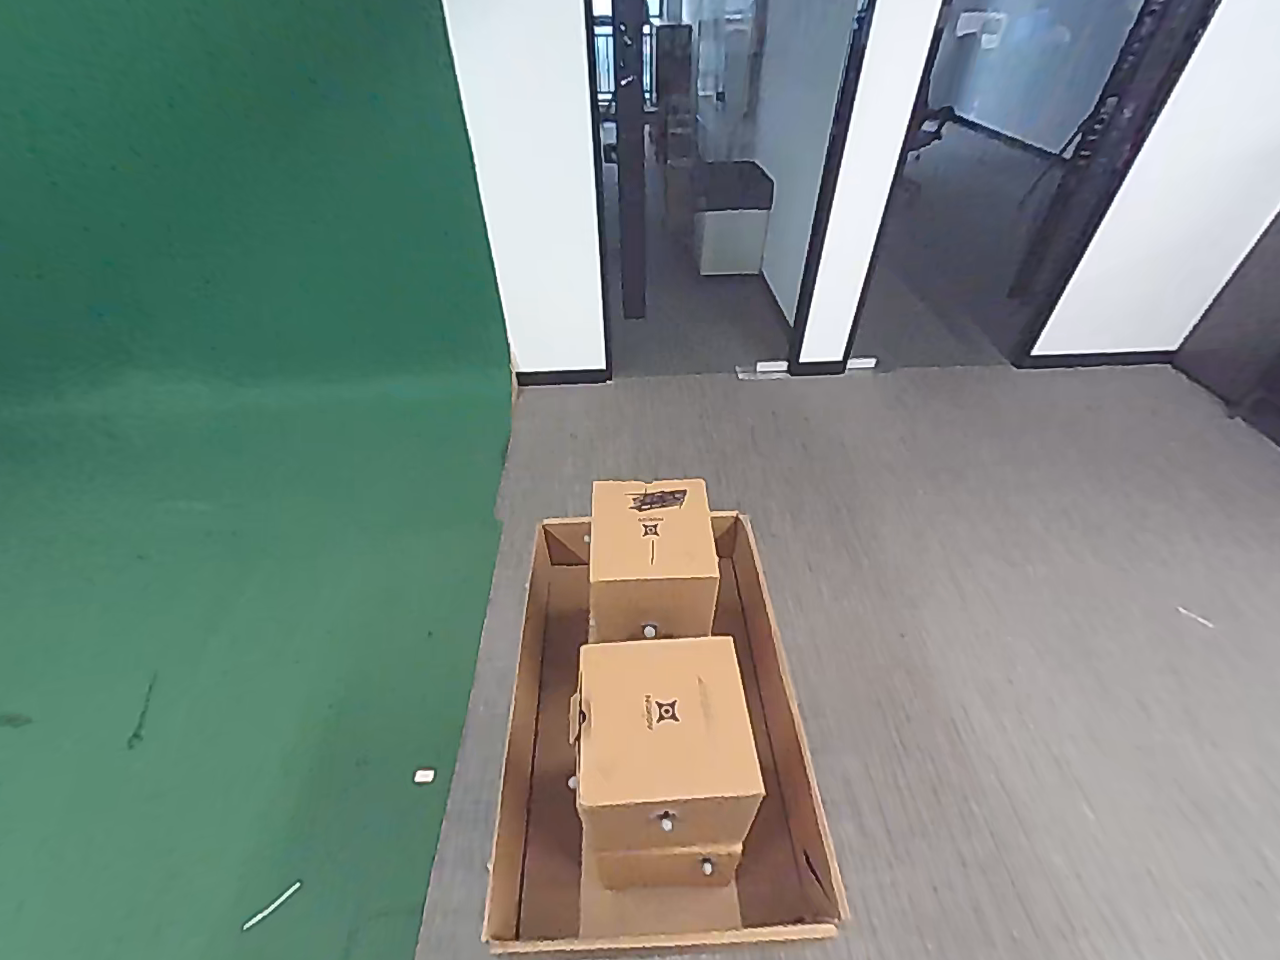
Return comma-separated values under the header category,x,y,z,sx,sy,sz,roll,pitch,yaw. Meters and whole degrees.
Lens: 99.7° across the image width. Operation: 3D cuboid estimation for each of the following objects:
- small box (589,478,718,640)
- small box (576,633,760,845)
category,x,y,z,sx,sy,sz,roll,pitch,yaw
small box,0.015,0.116,0.792,0.168,0.176,0.179,-2,46,-1
small box,0.023,0.294,0.612,0.179,0.176,0.168,-3,44,-3
